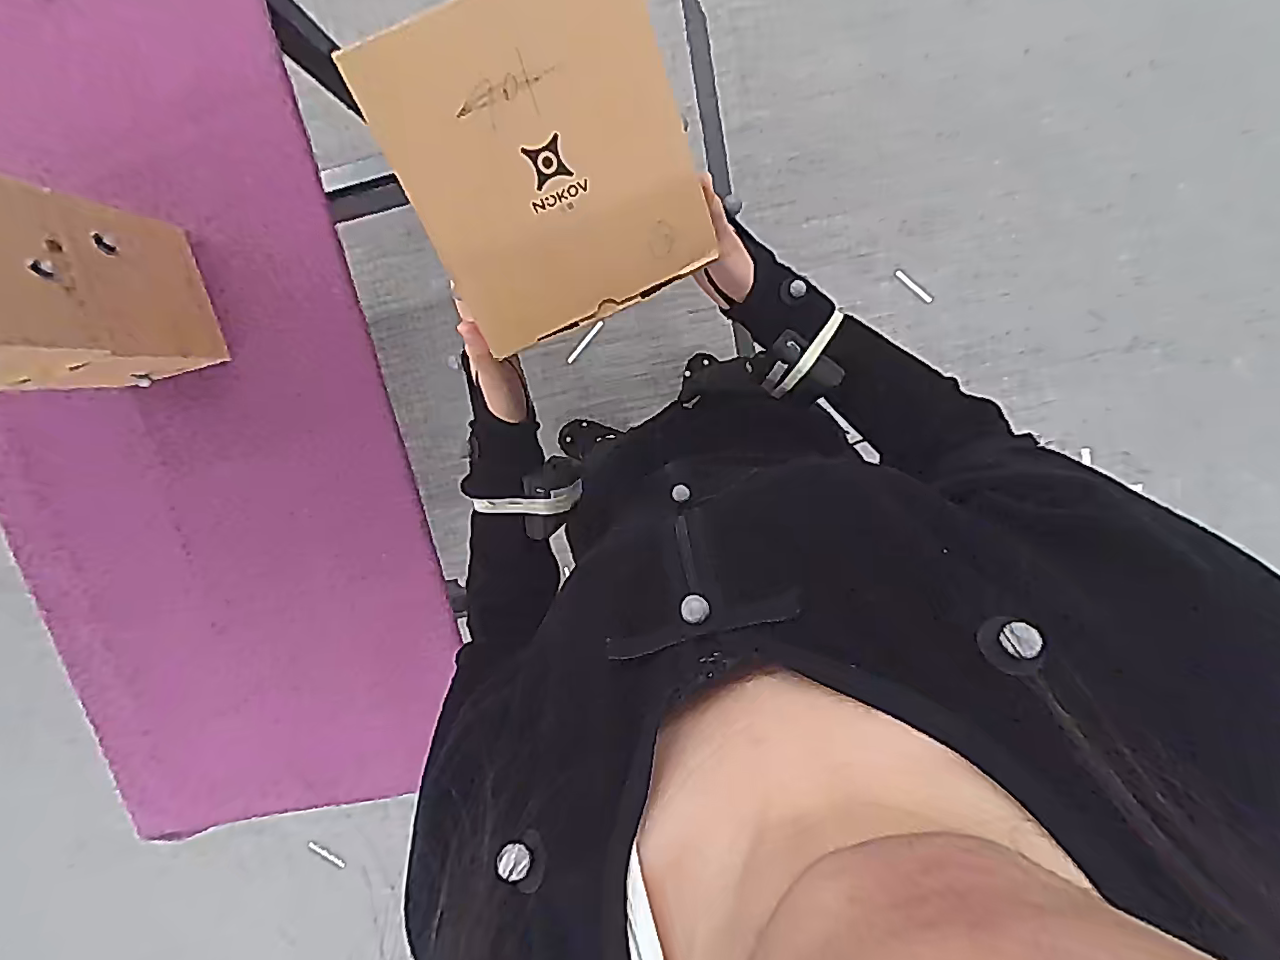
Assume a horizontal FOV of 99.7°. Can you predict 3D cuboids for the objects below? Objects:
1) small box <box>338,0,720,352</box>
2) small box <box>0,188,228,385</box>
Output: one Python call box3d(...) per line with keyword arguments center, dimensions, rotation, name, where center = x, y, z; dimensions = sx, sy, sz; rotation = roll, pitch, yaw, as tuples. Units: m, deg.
box3d(center=(-0.065, -0.218, 0.385), dimensions=(0.168, 0.176, 0.179), rotation=(-25, 116, 0), name="small box")
box3d(center=(-0.660, -0.218, 0.655), dimensions=(0.168, 0.176, 0.179), rotation=(-13, 101, 5), name="small box")
